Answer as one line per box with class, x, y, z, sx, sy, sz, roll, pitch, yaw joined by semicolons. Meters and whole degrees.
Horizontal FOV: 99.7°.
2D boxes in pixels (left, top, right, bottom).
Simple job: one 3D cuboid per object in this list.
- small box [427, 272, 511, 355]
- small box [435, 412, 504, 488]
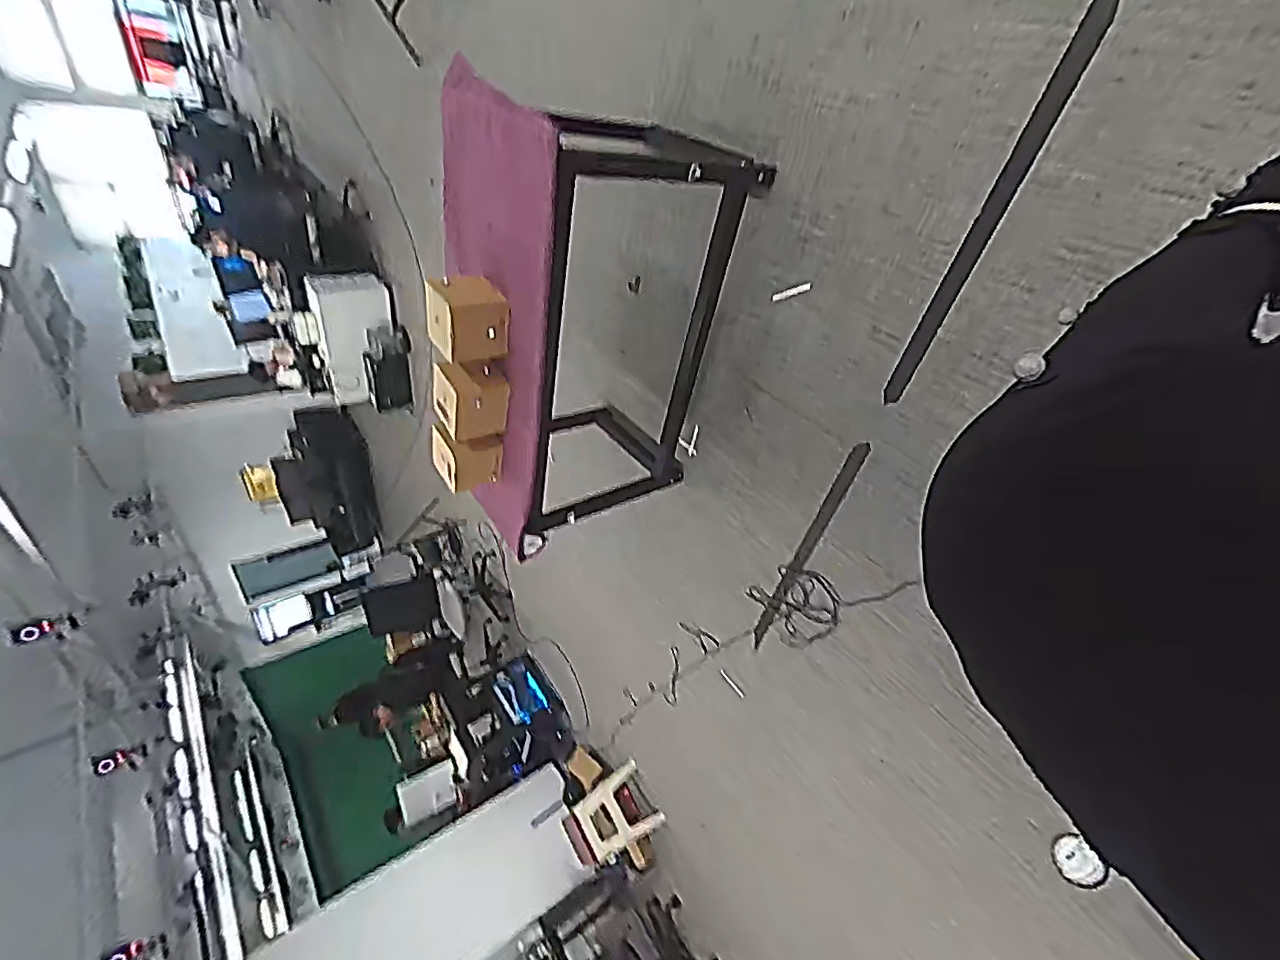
small box;-0.475;-0.468;1.505;0.179;0.176;0.168;46;139;33
small box;-0.567;-0.108;1.805;0.179;0.176;0.168;49;140;29
